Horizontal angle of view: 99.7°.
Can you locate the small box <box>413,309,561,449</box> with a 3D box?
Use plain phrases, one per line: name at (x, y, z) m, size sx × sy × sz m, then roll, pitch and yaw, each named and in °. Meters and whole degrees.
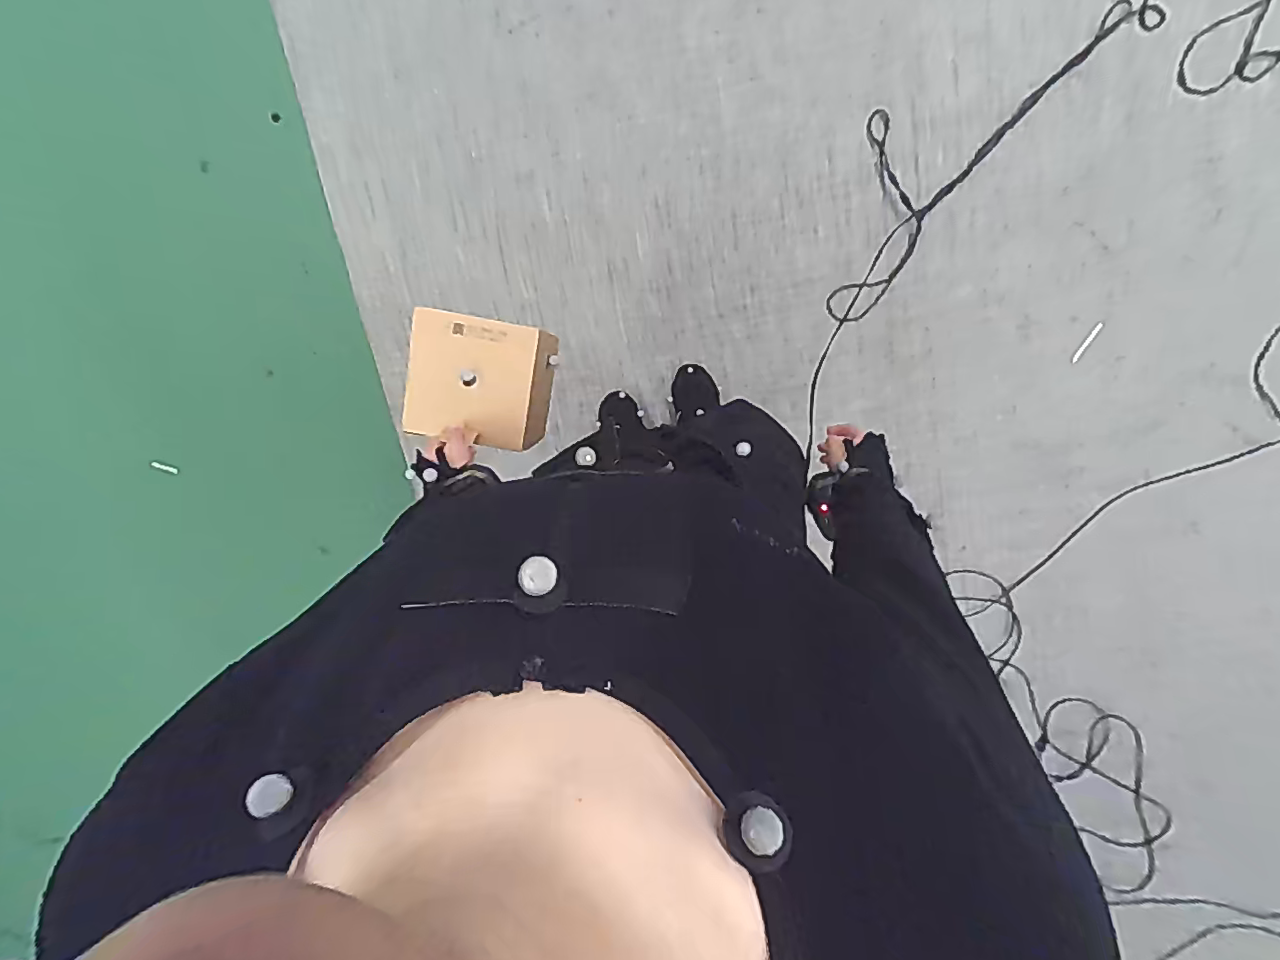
small box at (-0.217, -0.150, 0.796) m, size 0.168 × 0.179 × 0.176 m, roll 9°, pitch 102°, yaw -2°
